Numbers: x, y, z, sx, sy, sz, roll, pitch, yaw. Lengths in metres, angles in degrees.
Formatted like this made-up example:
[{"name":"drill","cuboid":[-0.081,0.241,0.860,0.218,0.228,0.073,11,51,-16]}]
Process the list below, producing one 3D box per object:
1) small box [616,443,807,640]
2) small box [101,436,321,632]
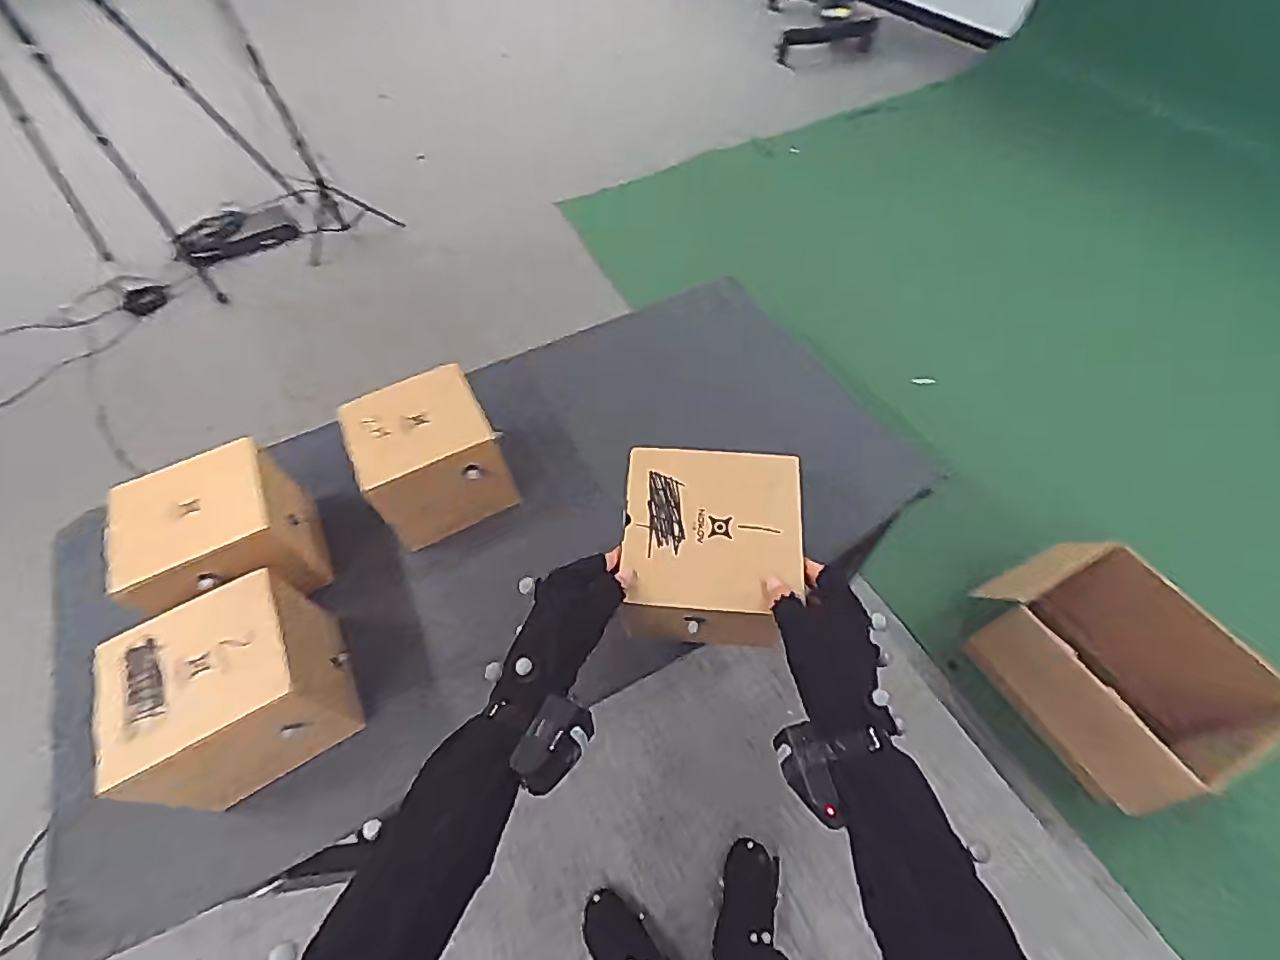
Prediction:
[{"name":"small box","cuboid":[0.077,0.074,0.594,0.179,0.176,0.168,4,64,5]},{"name":"small box","cuboid":[-0.567,0.077,0.736,0.179,0.176,0.168,-27,60,-14]}]
